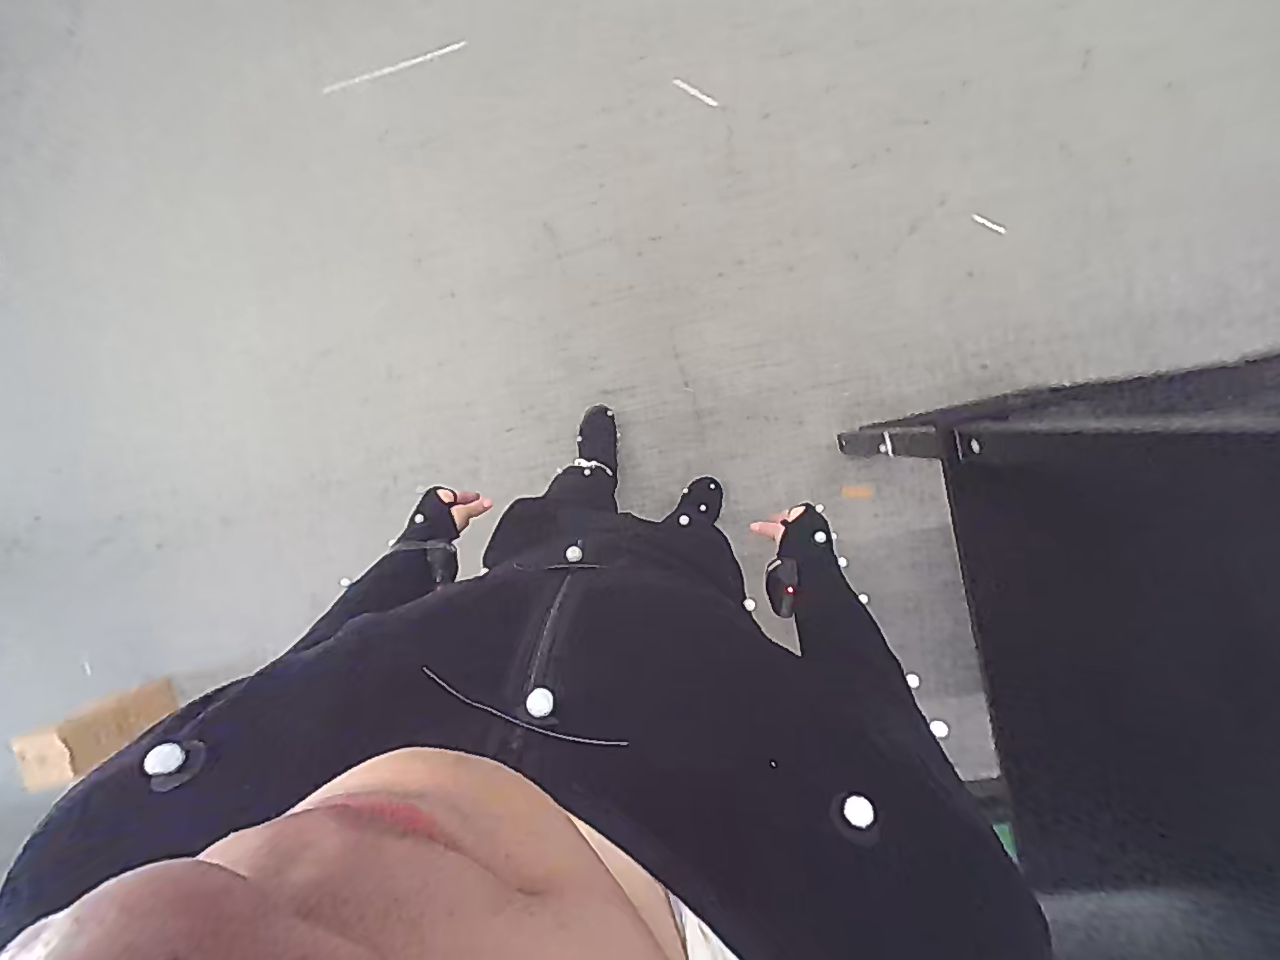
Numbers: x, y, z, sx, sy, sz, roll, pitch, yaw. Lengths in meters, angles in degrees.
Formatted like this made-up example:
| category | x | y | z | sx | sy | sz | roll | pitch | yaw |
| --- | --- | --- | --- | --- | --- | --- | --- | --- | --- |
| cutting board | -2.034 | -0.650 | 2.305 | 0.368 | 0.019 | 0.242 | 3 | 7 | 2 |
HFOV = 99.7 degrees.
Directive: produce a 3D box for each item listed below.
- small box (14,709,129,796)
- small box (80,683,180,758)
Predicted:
| category | x | y | z | sx | sy | sz | roll | pitch | yaw |
| --- | --- | --- | --- | --- | --- | --- | --- | --- | --- |
| small box | -1.728 | 0.829 | 1.659 | 0.179 | 0.176 | 0.168 | -15 | 92 | 7 |
| small box | -1.707 | 0.813 | 1.821 | 0.168 | 0.176 | 0.179 | -12 | 92 | 8 |
